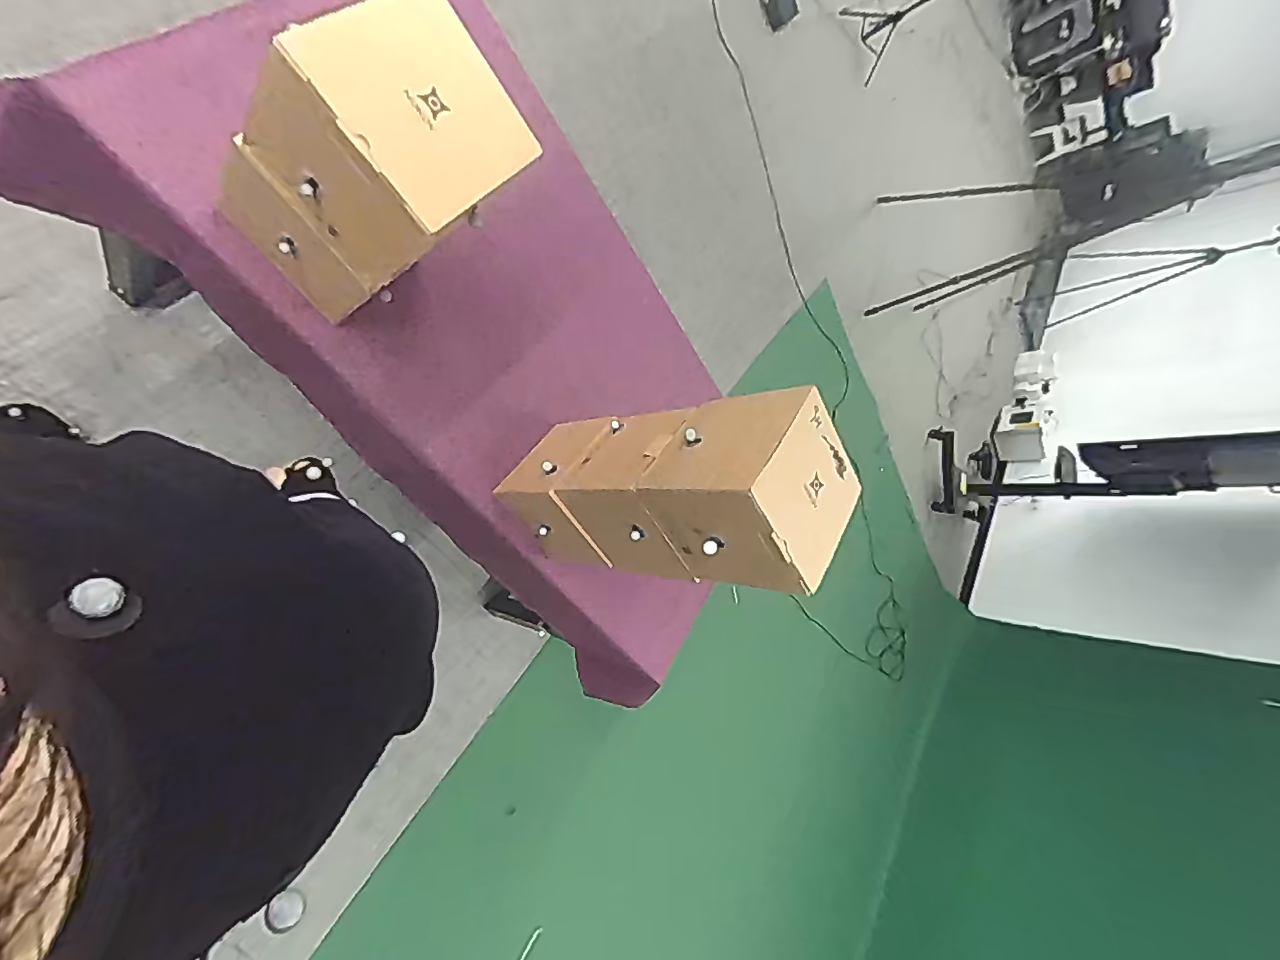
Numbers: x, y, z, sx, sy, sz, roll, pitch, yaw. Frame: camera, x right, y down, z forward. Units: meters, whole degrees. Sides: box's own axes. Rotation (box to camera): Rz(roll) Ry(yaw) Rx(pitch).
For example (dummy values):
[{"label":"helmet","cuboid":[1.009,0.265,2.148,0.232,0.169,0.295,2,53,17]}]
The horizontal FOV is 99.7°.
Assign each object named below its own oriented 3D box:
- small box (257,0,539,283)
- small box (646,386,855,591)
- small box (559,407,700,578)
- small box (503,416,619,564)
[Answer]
[{"label":"small box","cuboid":[-0.245,-0.332,0.549,0.168,0.176,0.179,52,58,-29]},{"label":"small box","cuboid":[0.131,0.010,0.668,0.179,0.176,0.168,-52,122,-29]},{"label":"small box","cuboid":[0.016,0.018,0.785,0.168,0.176,0.179,-52,123,-30]},{"label":"small box","cuboid":[-0.102,0.017,0.900,0.179,0.176,0.168,-53,123,-30]}]
